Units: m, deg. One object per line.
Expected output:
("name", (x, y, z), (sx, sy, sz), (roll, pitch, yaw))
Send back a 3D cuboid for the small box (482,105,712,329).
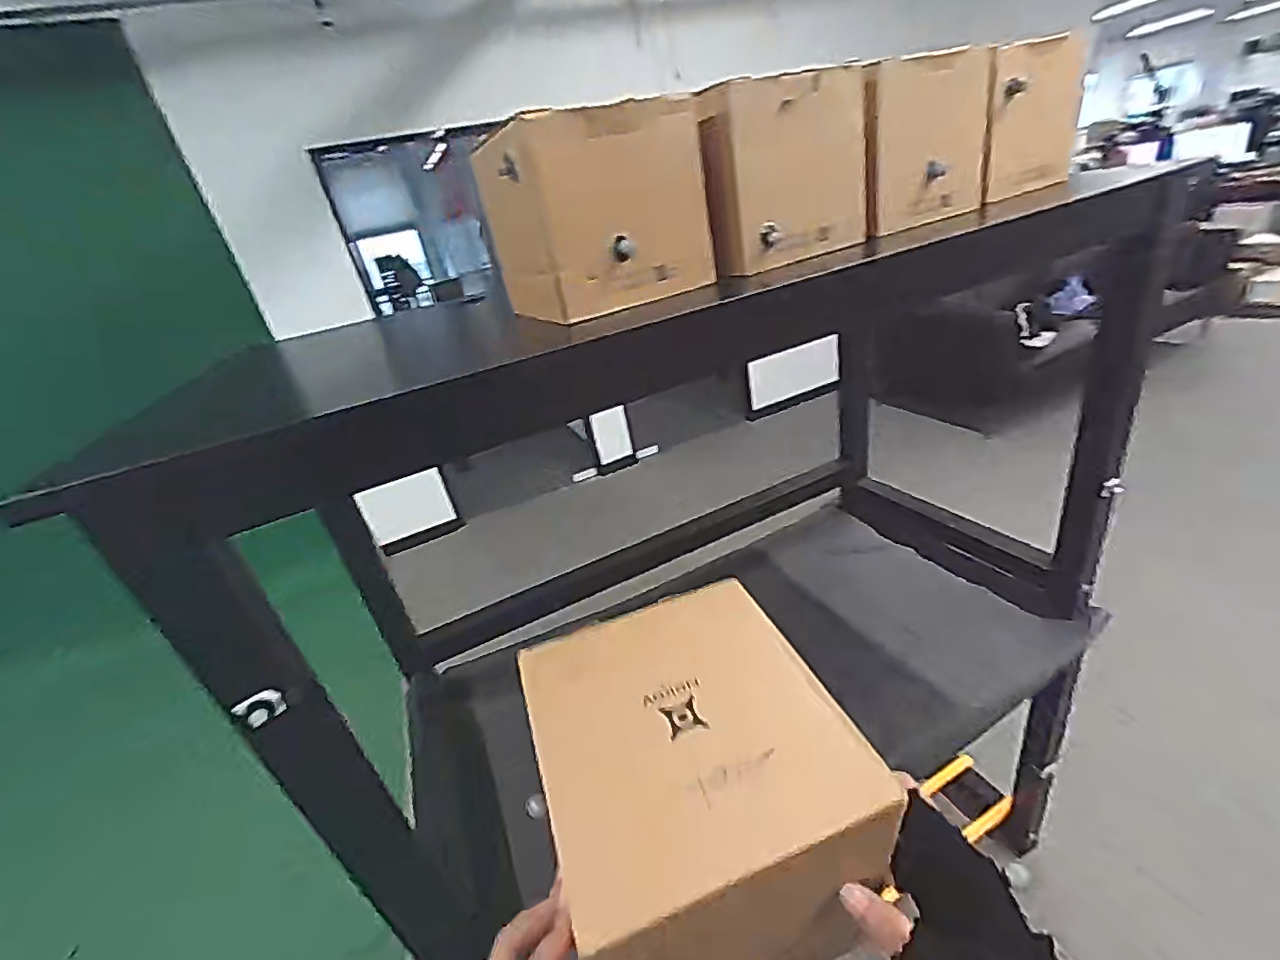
("small box", (-0.045, -0.262, 0.559), (0.168, 0.176, 0.179), (-23, 29, -20))
